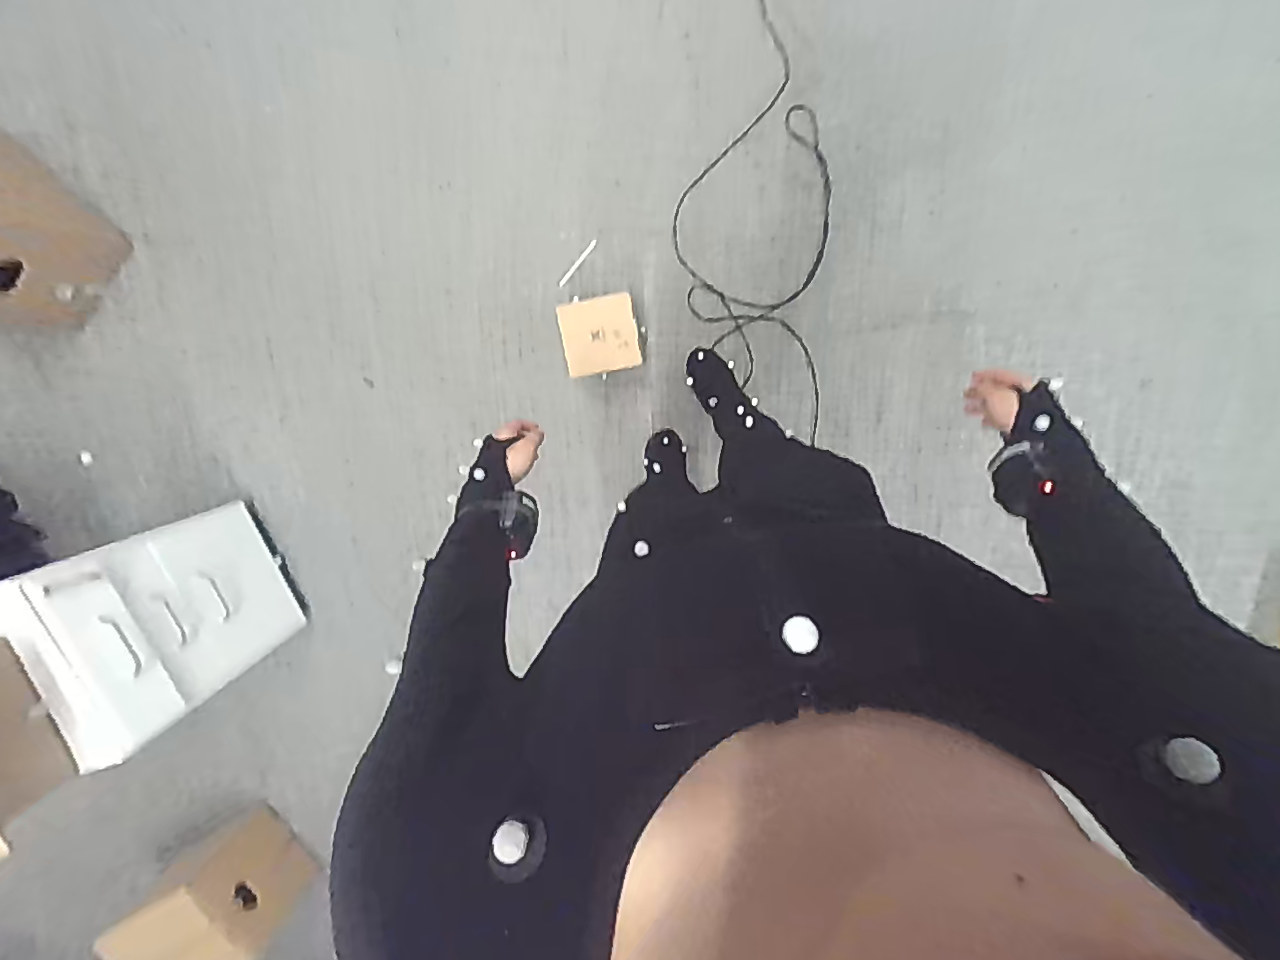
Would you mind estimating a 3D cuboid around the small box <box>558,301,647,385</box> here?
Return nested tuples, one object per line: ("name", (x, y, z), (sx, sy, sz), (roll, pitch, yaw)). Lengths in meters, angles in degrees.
("small box", (-0.083, -0.327, 1.318), (0.179, 0.176, 0.168), (-10, 102, 5))
